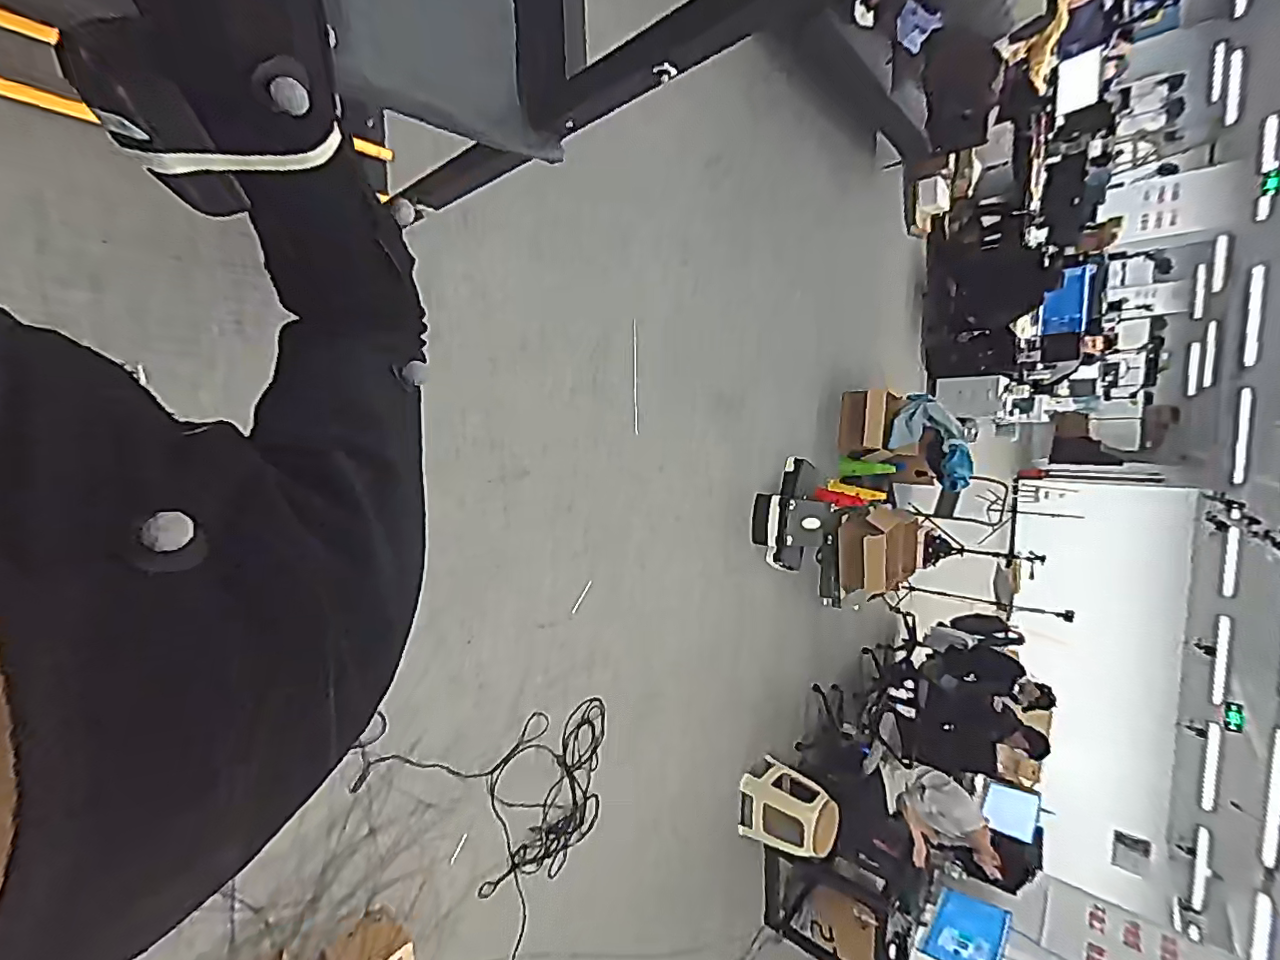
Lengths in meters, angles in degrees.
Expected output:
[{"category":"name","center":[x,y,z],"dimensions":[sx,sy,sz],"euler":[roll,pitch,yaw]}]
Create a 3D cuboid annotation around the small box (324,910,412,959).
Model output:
[{"category":"small box","center":[-0.739,1.328,1.472],"dimensions":[0.168,0.176,0.179],"euler":[-11,102,-48]}]
